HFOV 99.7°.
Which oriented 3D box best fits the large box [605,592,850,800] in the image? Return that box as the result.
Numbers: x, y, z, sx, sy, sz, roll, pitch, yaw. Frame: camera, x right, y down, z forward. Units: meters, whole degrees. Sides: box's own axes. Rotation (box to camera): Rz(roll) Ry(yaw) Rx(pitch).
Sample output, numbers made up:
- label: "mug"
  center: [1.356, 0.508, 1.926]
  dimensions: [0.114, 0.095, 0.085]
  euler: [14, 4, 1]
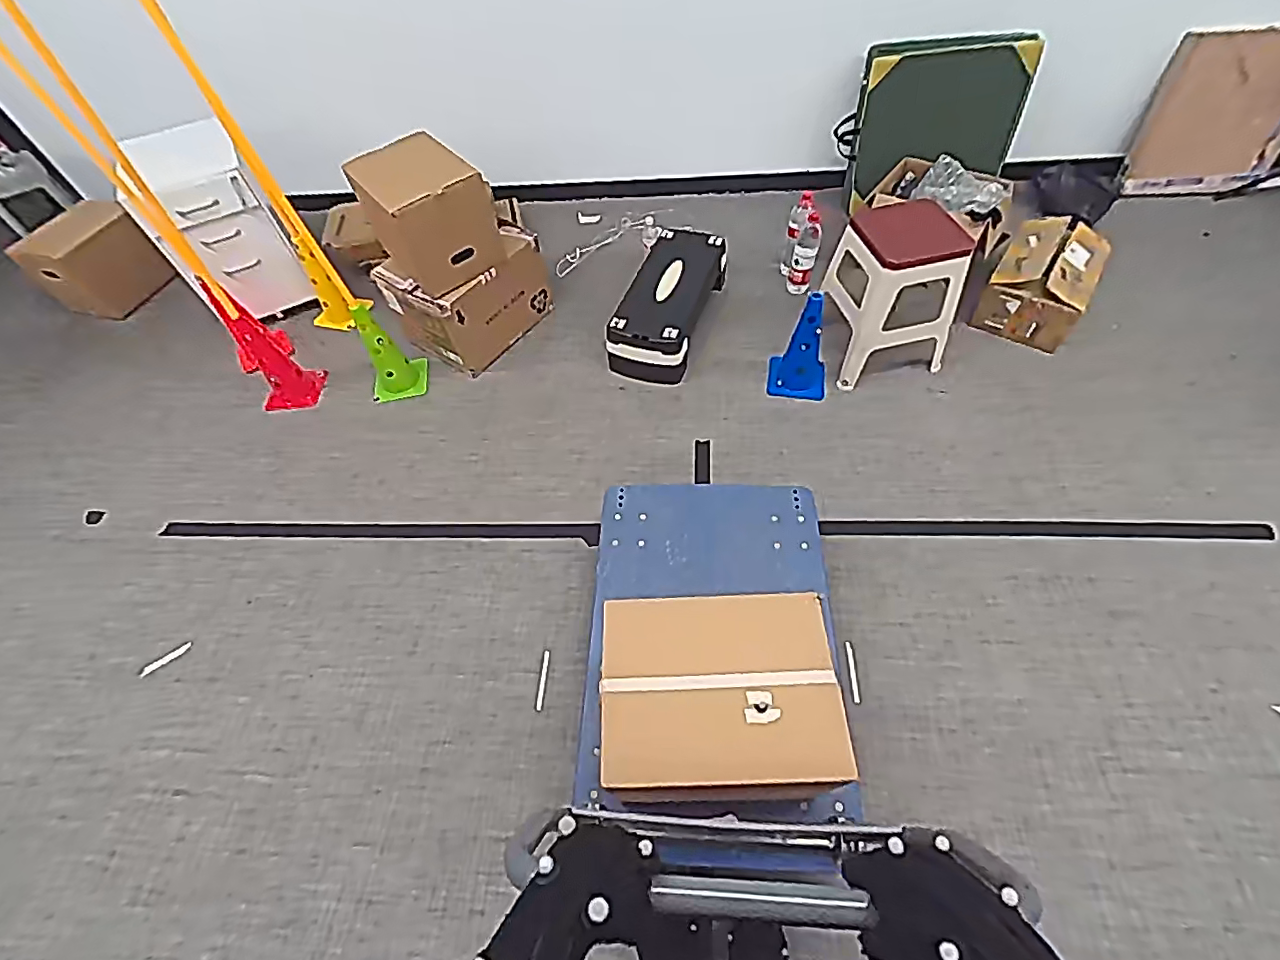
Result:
- label: "large box"
  center: [0.141, 0.437, 1.075]
  dimensions: [0.408, 0.320, 0.320]
  euler: [-3, 56, 1]
